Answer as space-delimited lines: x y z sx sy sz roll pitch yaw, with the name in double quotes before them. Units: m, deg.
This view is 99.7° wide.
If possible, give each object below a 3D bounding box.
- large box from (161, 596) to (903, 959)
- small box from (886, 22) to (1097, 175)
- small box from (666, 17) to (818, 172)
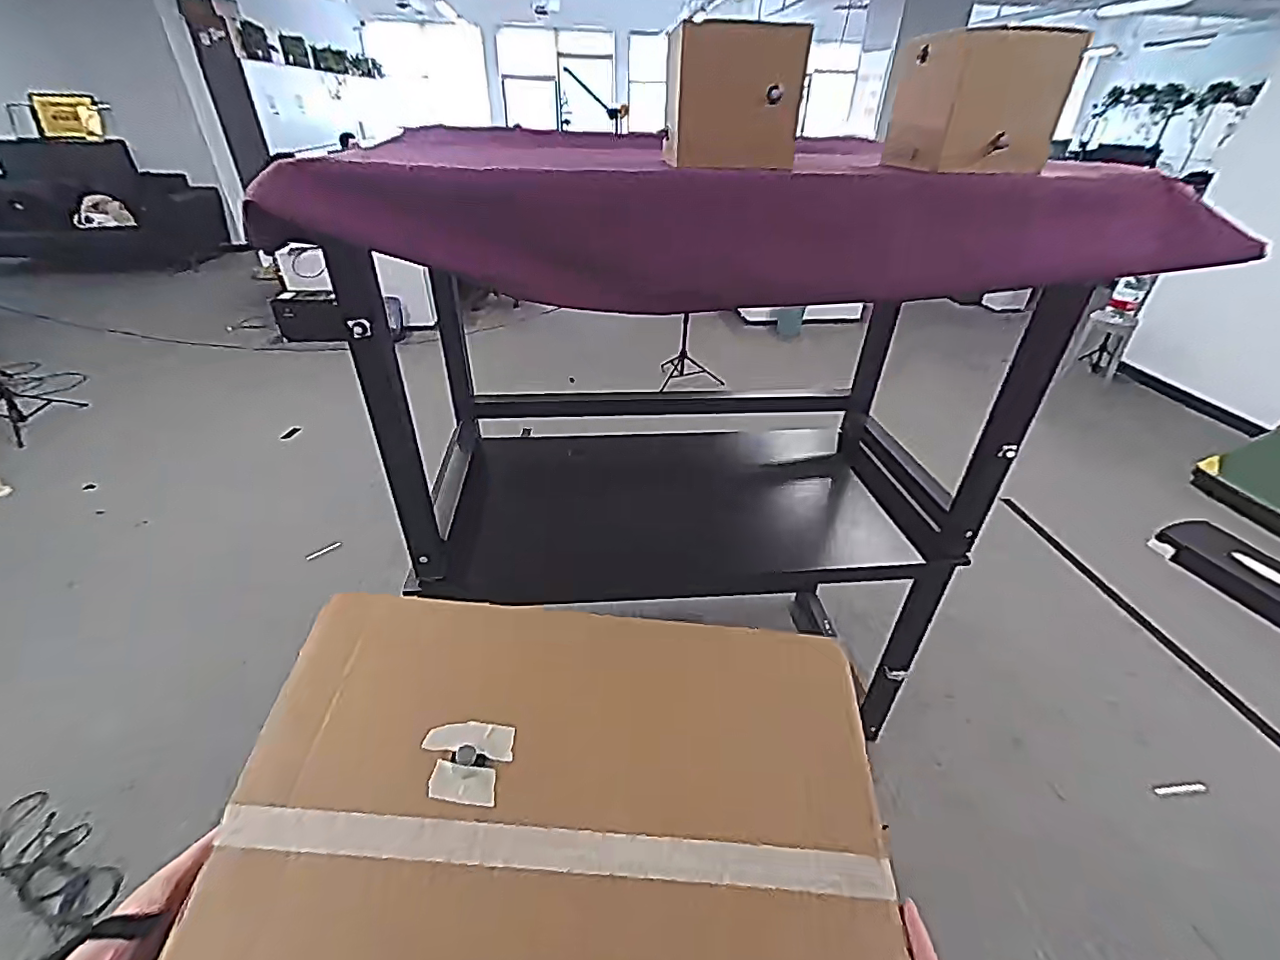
"large box" -0.055 0.314 0.438 0.408 0.320 0.320 5 50 0
"small box" 0.503 -0.559 0.805 0.179 0.176 0.168 -3 33 -7
"small box" 0.137 -0.560 0.798 0.179 0.176 0.168 -2 33 -4
